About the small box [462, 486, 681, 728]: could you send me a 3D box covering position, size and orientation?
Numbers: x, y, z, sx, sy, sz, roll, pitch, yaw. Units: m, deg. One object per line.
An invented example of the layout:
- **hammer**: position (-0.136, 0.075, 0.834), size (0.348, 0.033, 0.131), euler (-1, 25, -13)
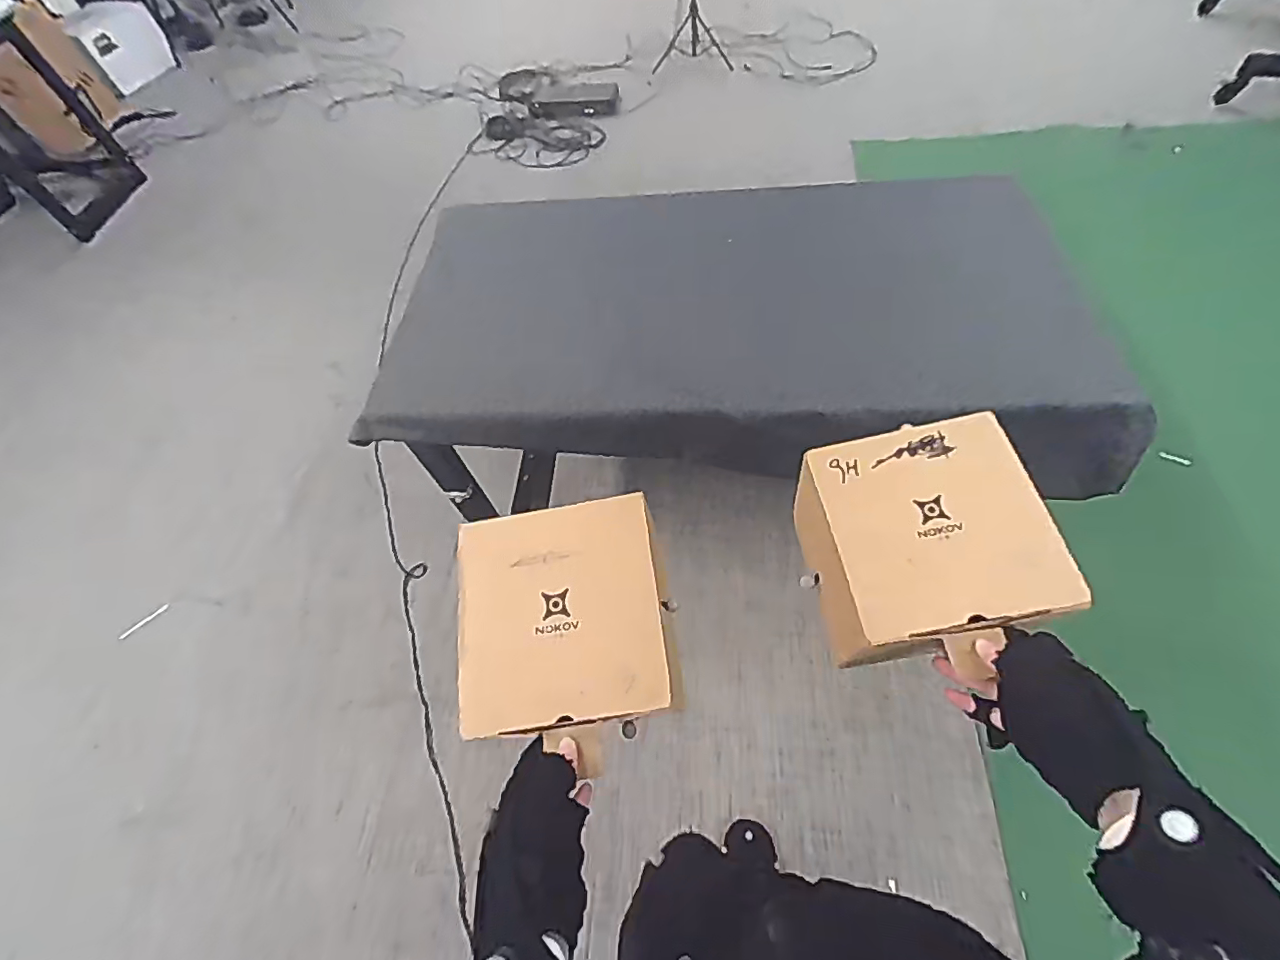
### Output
- **small box**: position (-0.057, 0.127, 0.516), size (0.168, 0.176, 0.179), euler (-10, 66, 2)

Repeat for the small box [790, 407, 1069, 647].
- **small box**: position (0.252, 0.059, 0.527), size (0.168, 0.176, 0.179), euler (-12, 65, 5)
